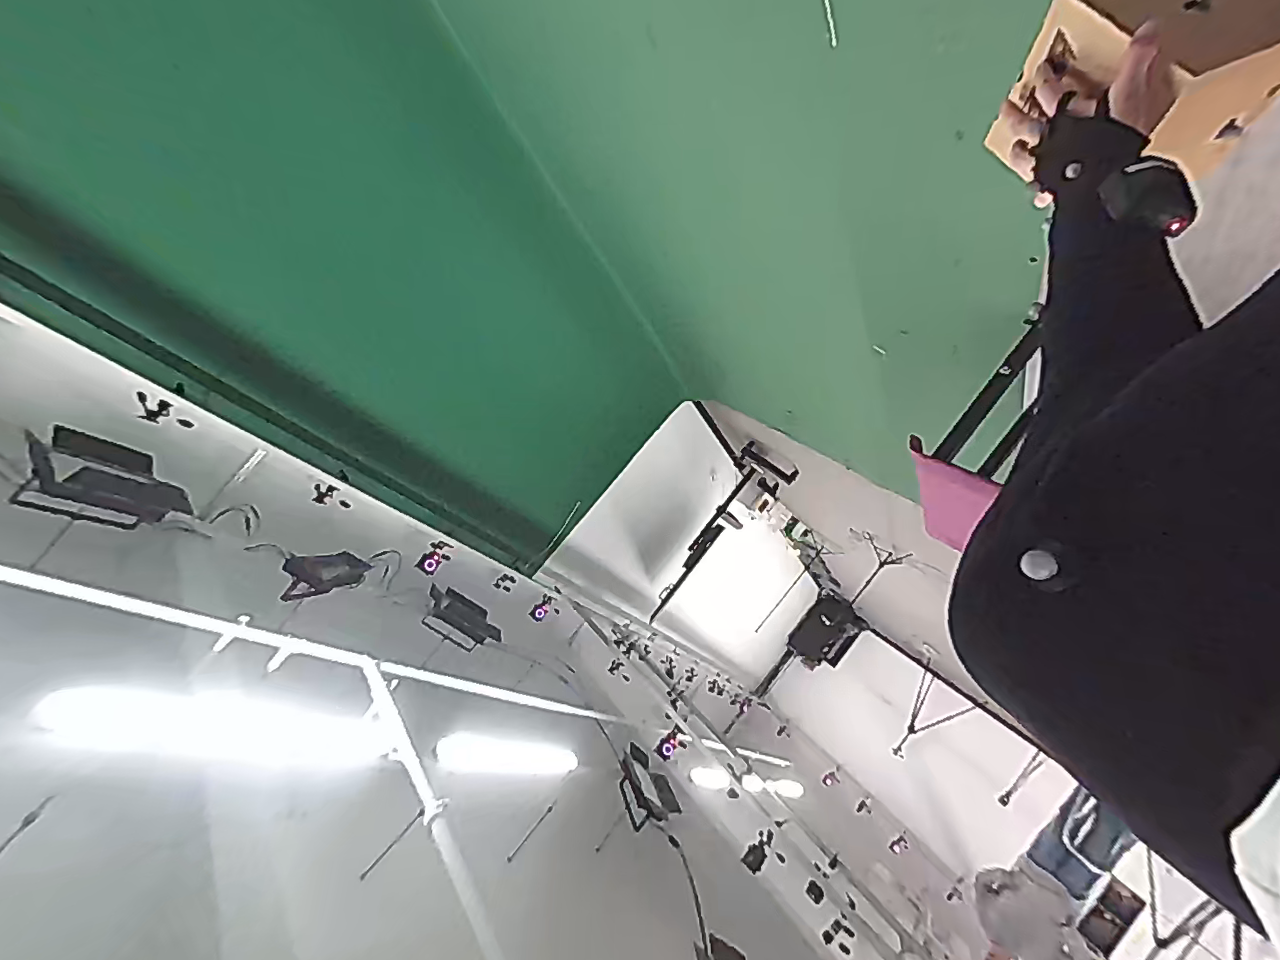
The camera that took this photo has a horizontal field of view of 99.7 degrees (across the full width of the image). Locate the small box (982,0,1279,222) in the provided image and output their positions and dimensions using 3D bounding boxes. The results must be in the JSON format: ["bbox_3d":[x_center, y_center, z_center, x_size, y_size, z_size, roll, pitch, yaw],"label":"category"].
[{"bbox_3d":[0.537,-0.430,0.592,0.168,0.176,0.179,73,172,-65],"label":"small box"}]
